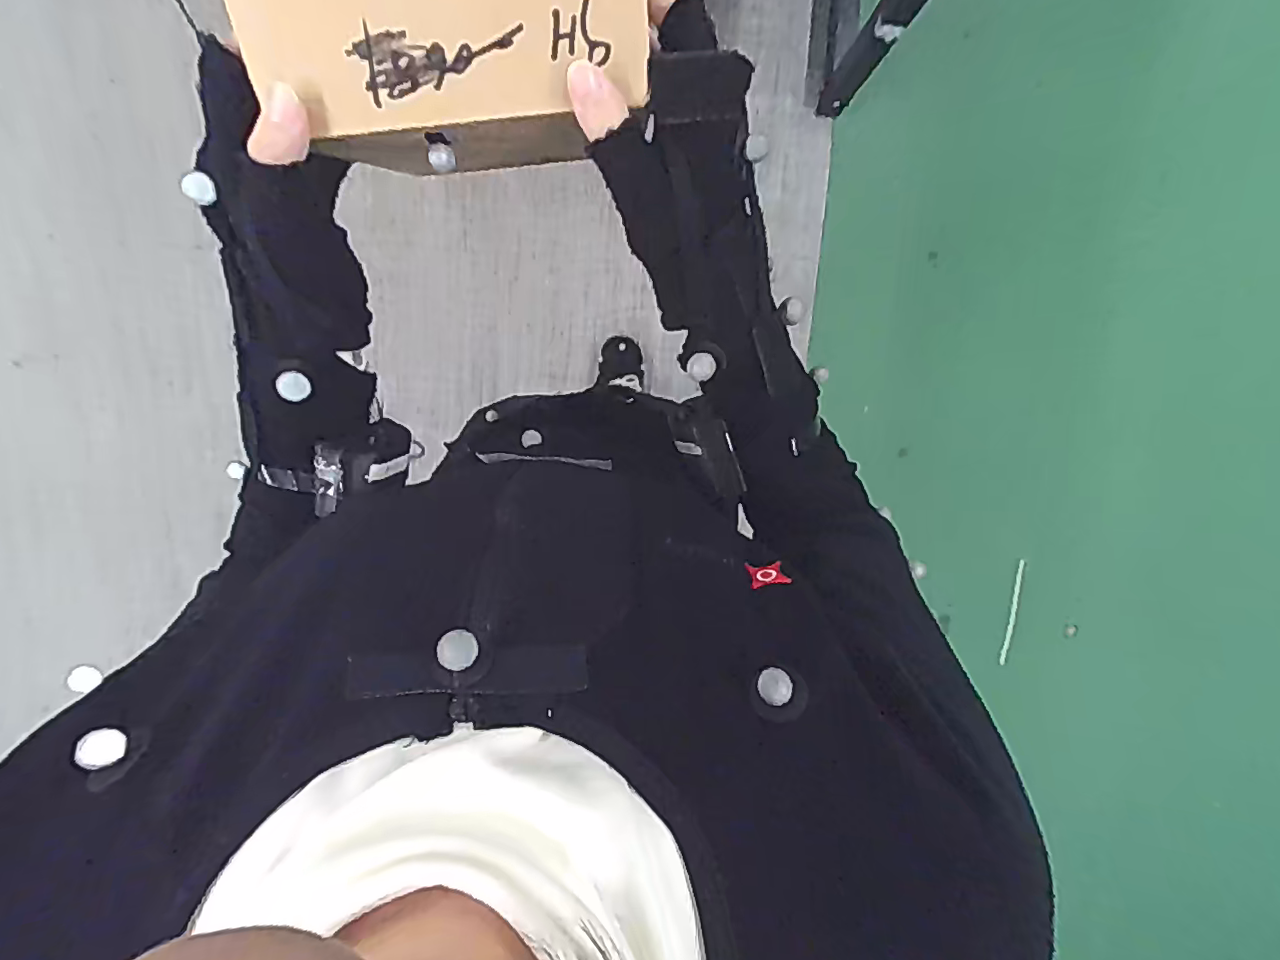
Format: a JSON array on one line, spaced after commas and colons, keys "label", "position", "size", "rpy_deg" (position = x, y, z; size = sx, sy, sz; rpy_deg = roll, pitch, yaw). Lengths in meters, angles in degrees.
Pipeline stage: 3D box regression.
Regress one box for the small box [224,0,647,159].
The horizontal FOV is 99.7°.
[{"label": "small box", "position": [-0.088, -0.274, 0.264], "size": [0.168, 0.176, 0.179], "rpy_deg": [-6, 115, 1]}]
